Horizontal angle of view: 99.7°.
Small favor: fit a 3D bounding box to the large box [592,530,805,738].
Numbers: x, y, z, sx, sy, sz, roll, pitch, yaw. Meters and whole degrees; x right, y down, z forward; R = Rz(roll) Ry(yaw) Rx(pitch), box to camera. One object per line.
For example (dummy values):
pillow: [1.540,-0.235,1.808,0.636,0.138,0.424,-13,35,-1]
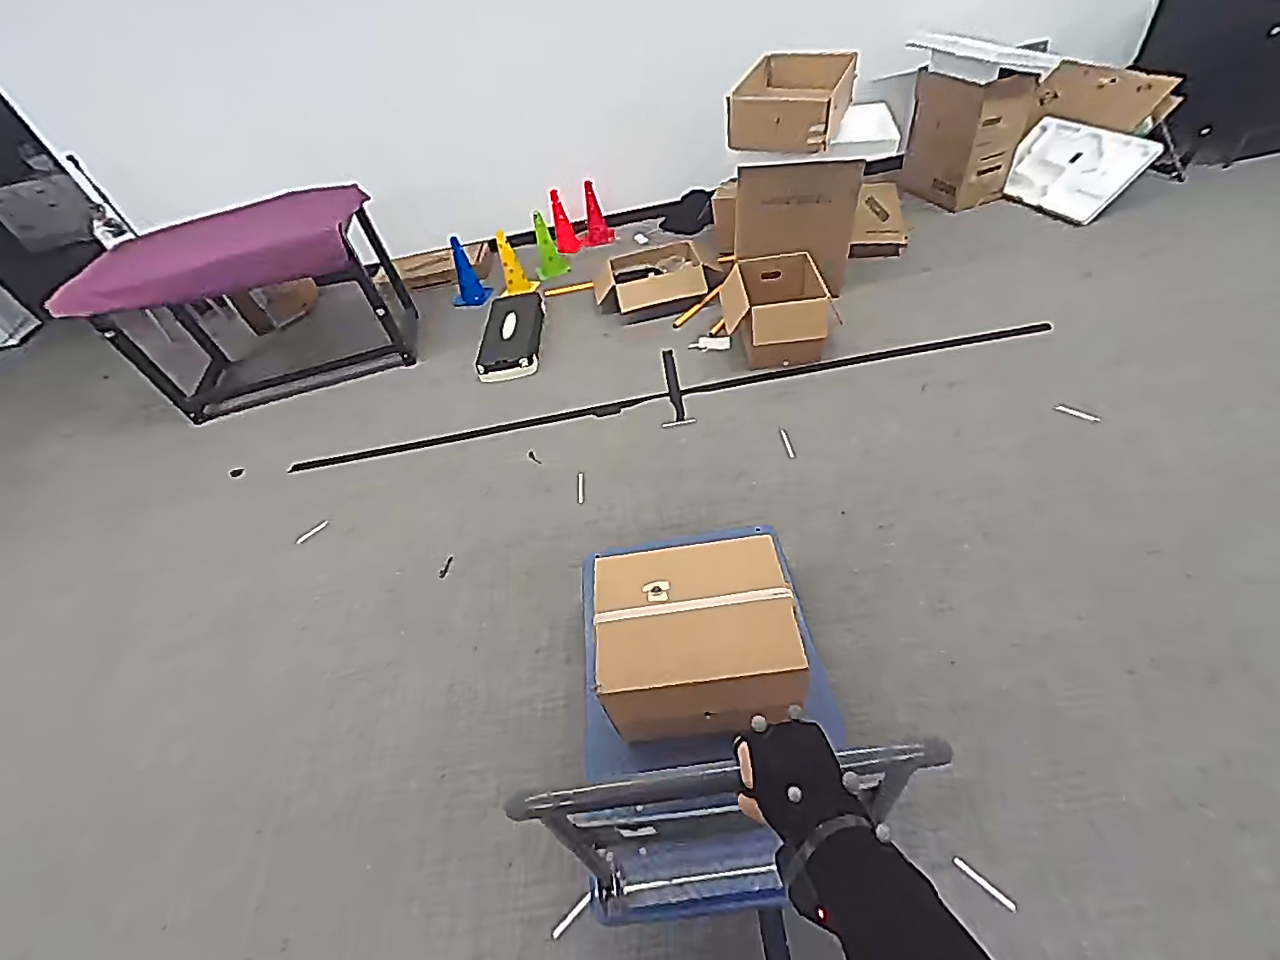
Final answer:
large box: [0.126,0.353,1.218,0.408,0.320,0.320,-10,46,4]
